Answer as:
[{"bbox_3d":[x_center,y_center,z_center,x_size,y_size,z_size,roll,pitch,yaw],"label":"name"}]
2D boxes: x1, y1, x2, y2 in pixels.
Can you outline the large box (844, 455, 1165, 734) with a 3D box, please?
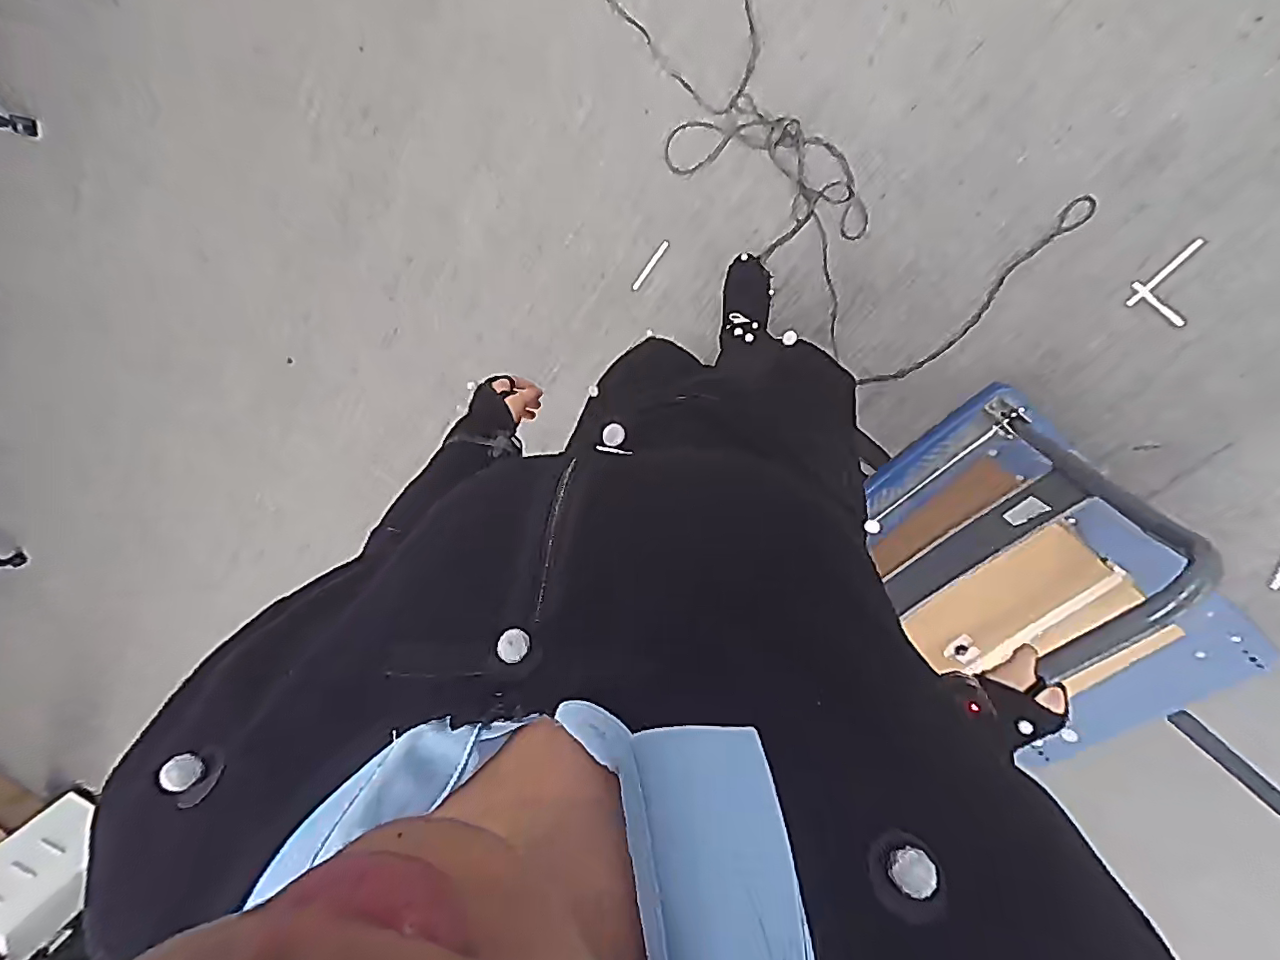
[{"bbox_3d":[0.694,0.224,1.121,0.320,0.320,0.408,39,116,-2],"label":"large box"}]
